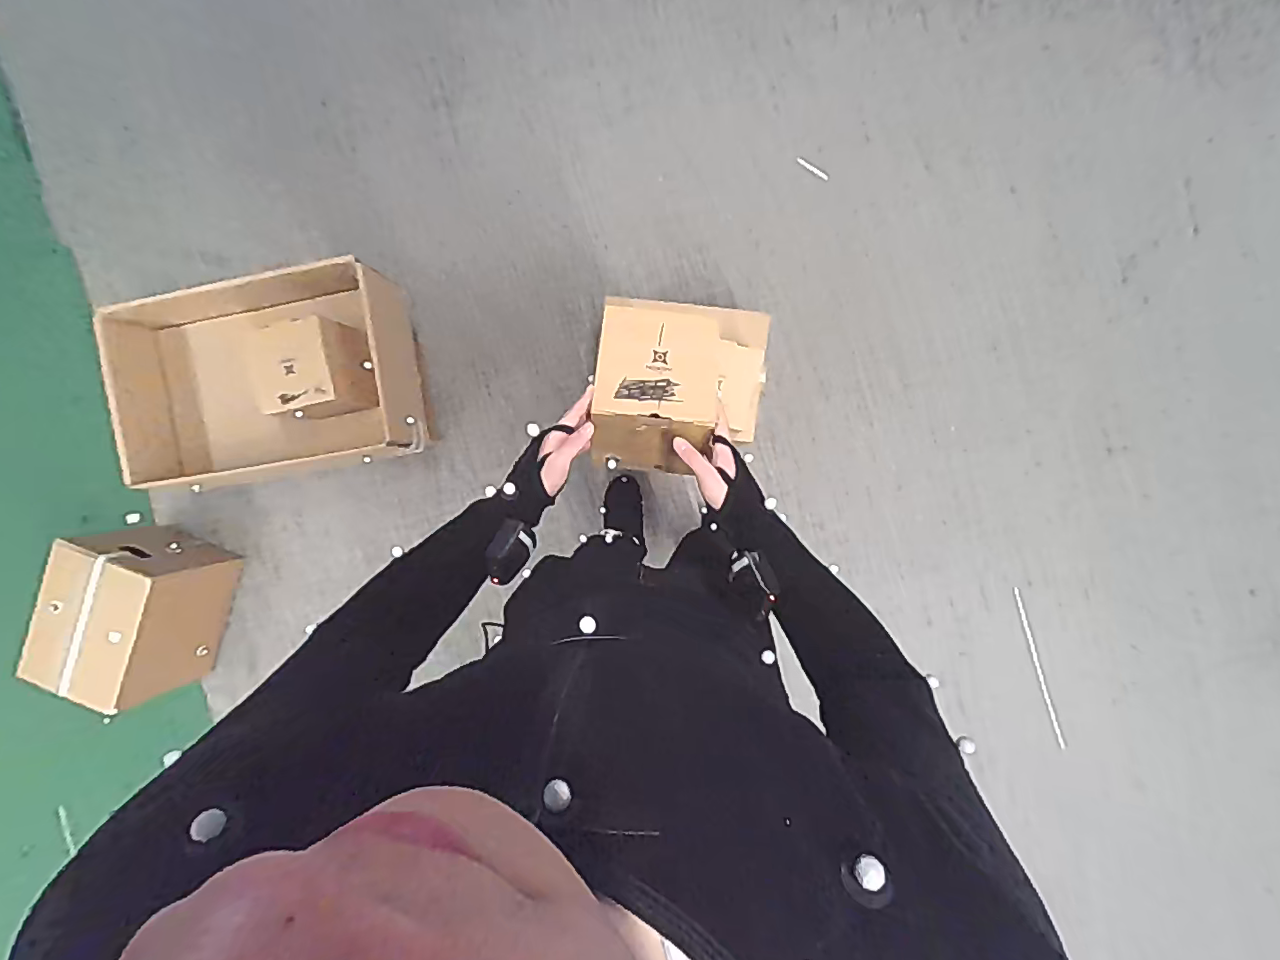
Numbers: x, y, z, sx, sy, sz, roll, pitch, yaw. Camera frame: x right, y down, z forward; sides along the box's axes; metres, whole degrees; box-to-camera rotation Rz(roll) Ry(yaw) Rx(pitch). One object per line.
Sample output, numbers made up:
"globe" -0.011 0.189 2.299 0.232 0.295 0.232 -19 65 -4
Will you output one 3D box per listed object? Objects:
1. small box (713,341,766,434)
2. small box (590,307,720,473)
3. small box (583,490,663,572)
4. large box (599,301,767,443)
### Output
"small box" 0.168 -0.207 1.205 0.168 0.176 0.179 14 96 5
"small box" 0.019 -0.123 0.797 0.168 0.176 0.179 6 67 -3
"small box" -0.042 0.145 1.586 0.168 0.176 0.179 32 91 8
"large box" 0.108 -0.270 1.454 0.408 0.320 0.320 8 93 5
